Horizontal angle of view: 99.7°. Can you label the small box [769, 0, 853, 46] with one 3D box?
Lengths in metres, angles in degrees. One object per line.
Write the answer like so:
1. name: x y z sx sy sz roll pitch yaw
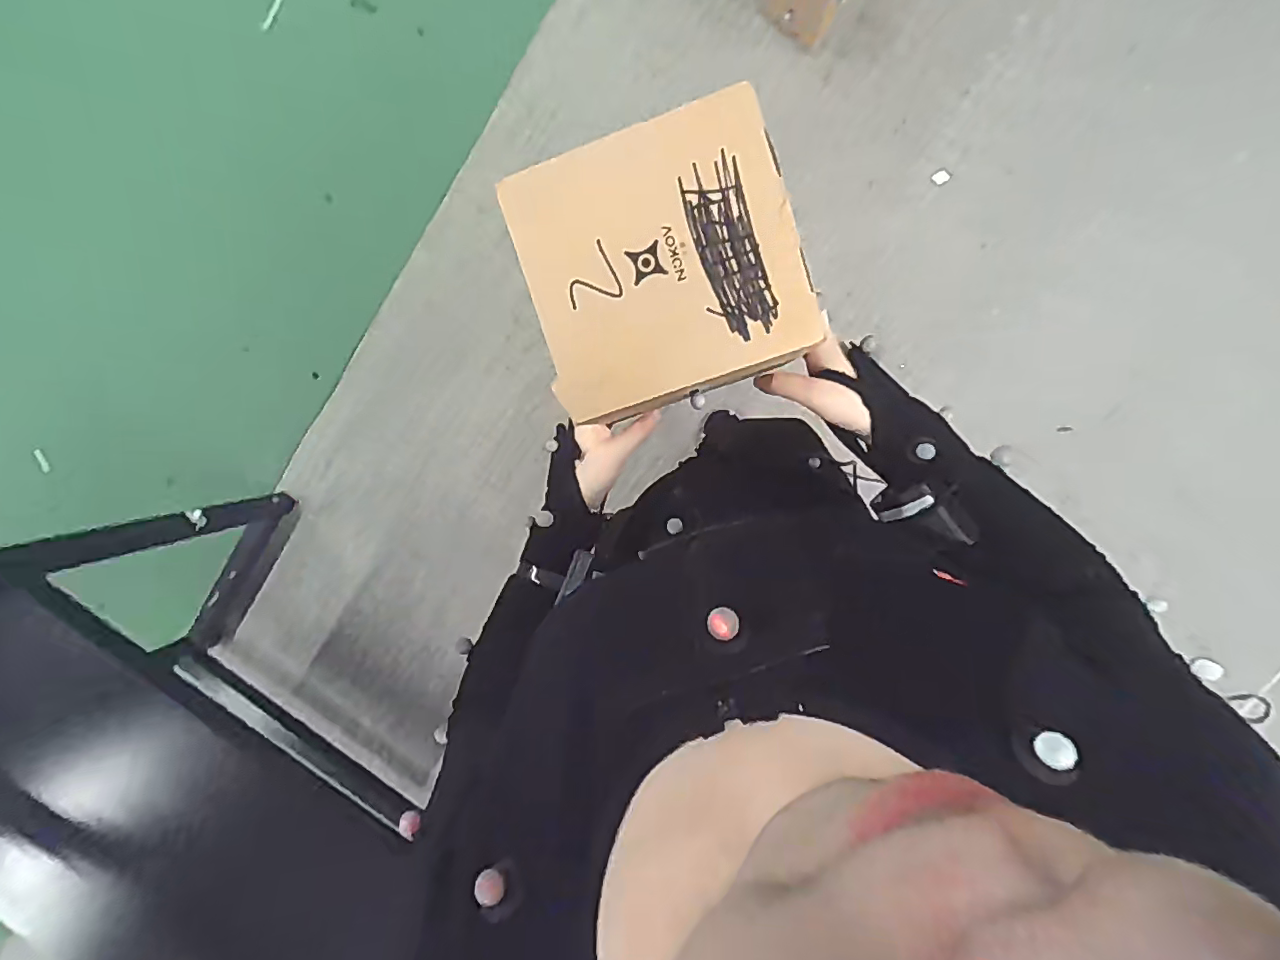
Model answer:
1. small box: 0.408 -1.151 1.224 0.168 0.176 0.179 40 100 1
